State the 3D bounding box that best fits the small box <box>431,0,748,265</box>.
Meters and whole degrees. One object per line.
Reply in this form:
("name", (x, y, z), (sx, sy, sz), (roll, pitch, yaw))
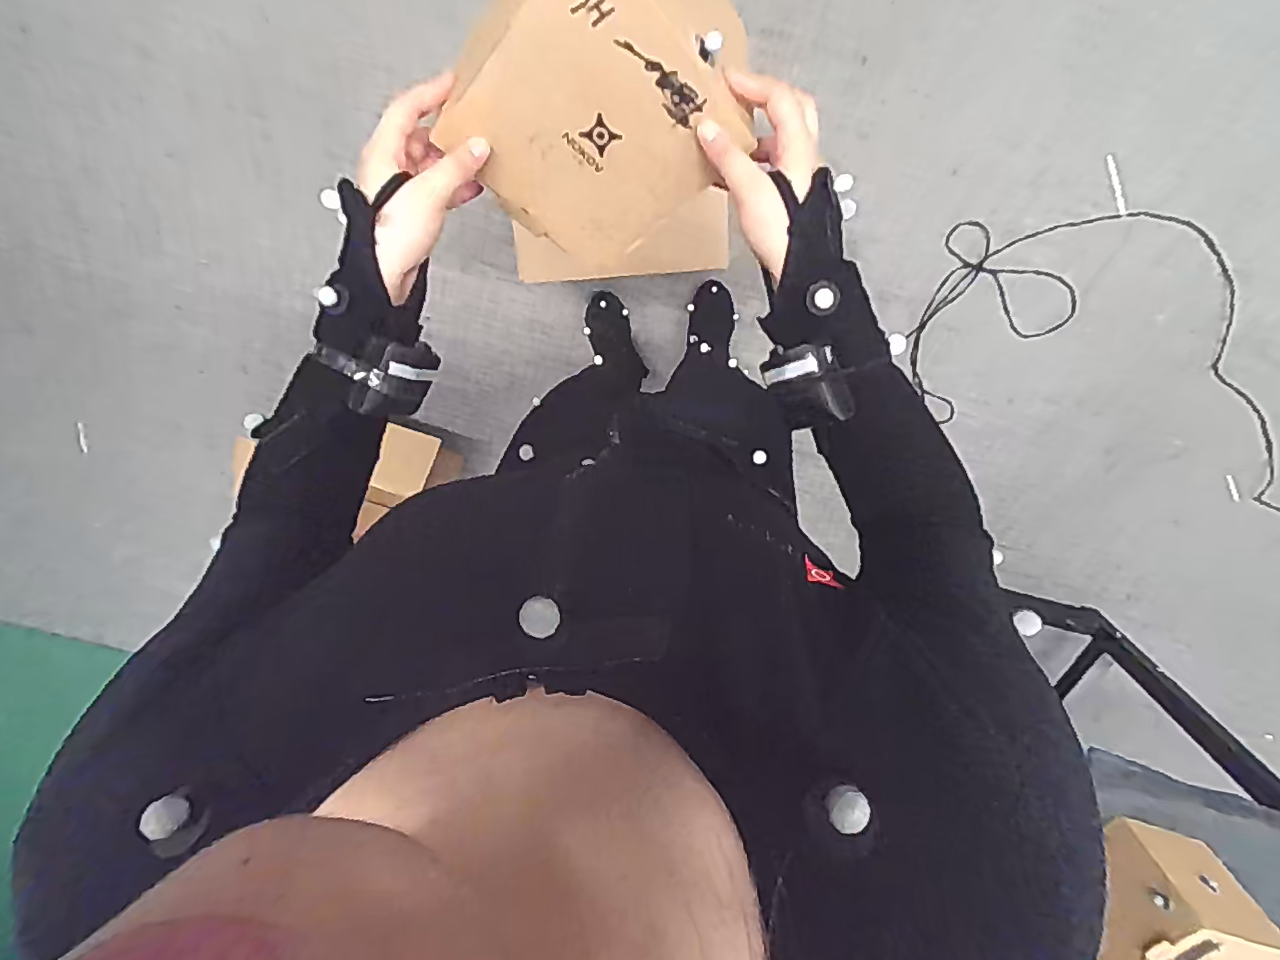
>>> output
("small box", (-0.031, -0.320, 0.427), (0.179, 0.176, 0.168), (-22, 143, 38))
